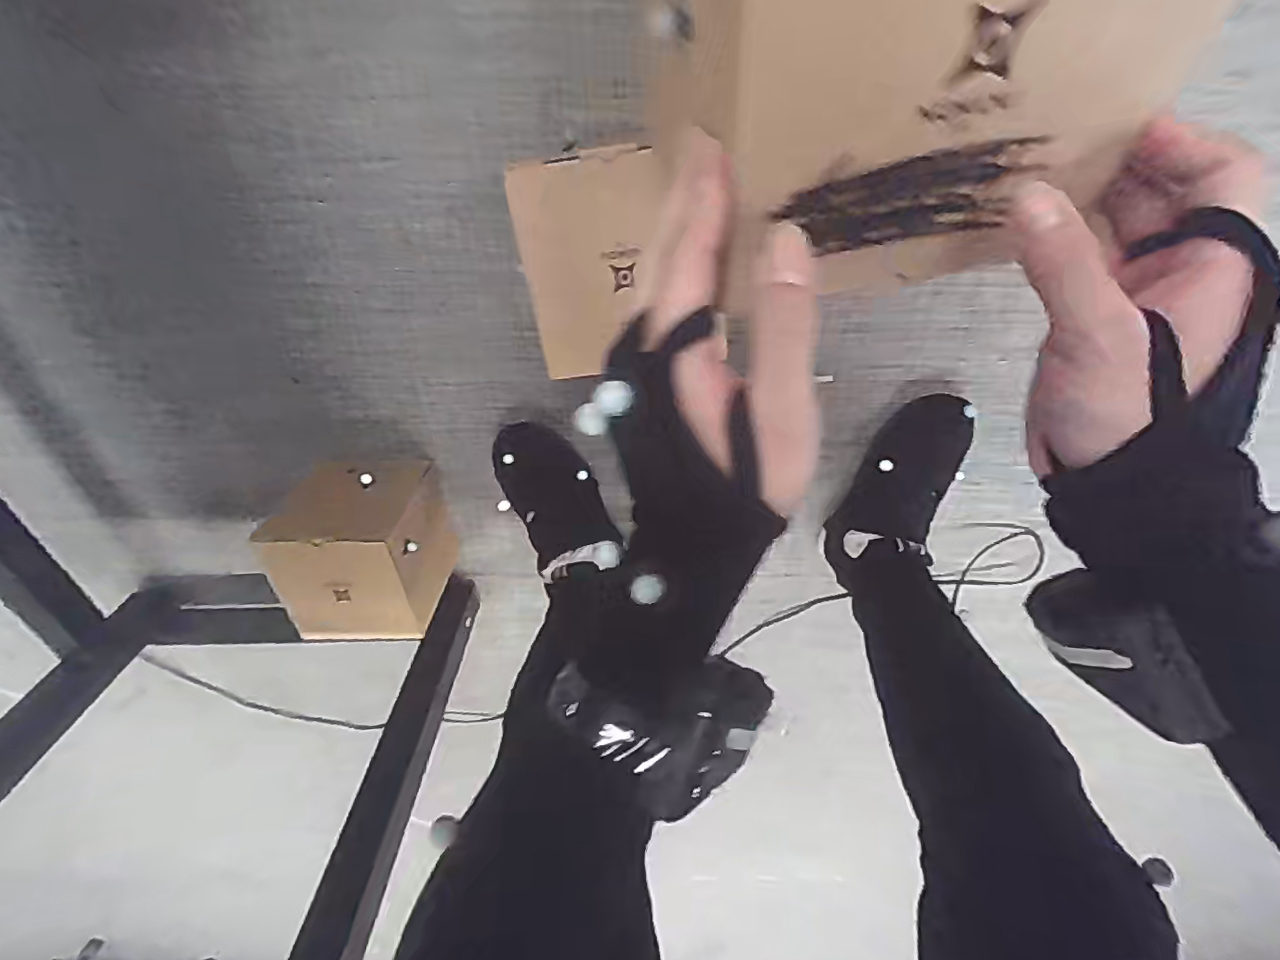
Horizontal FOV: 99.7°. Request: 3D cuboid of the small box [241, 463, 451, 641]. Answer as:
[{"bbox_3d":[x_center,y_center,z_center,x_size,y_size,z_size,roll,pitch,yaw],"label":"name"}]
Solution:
[{"bbox_3d":[-0.372,0.094,0.729,0.168,0.176,0.179,-1,124,2],"label":"small box"}]
